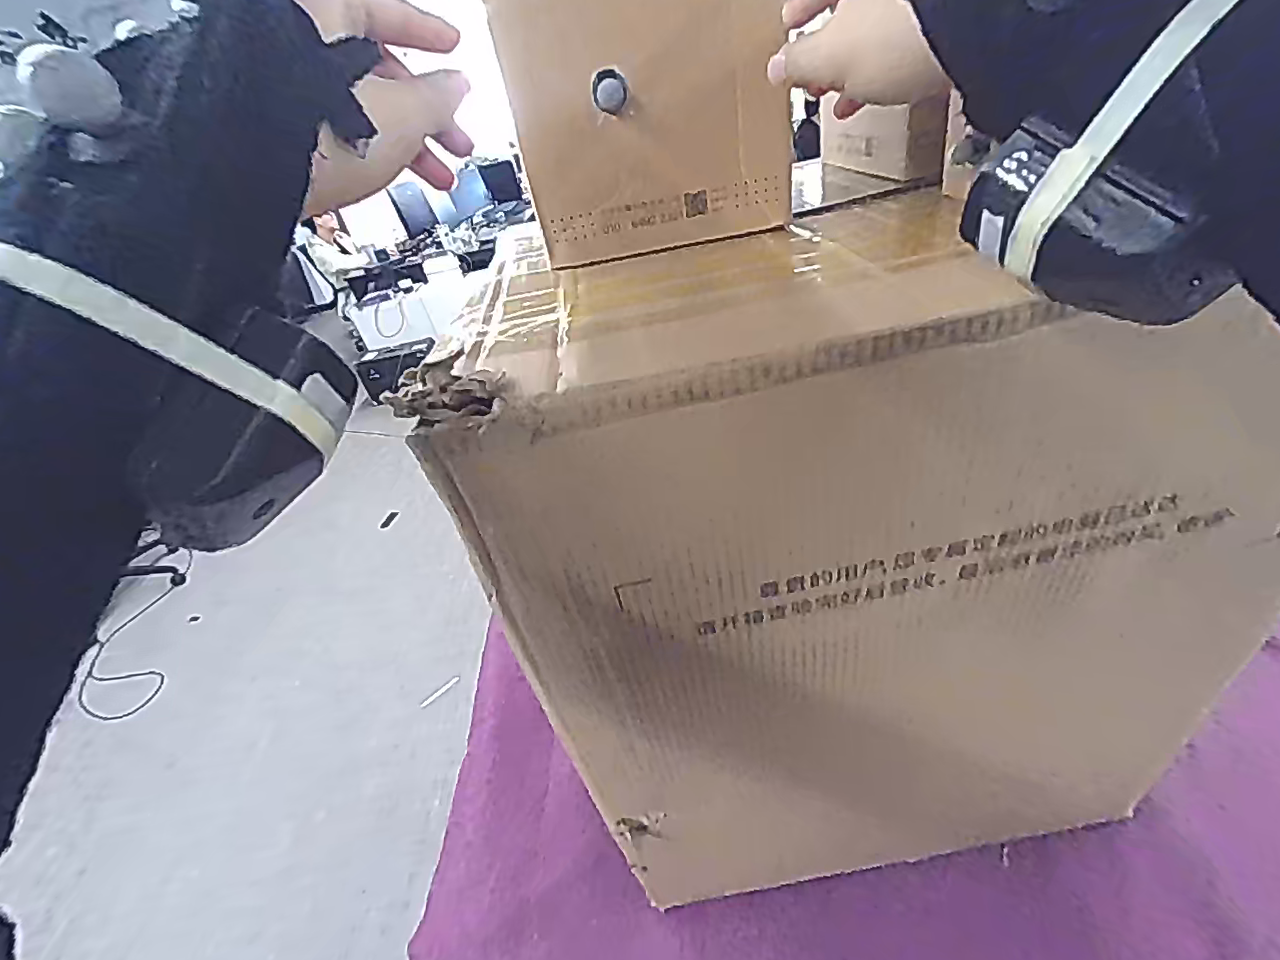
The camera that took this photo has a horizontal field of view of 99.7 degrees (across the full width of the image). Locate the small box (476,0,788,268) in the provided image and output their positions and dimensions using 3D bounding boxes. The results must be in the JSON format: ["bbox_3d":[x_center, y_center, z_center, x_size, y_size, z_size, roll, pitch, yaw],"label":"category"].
[{"bbox_3d":[0.004,-0.263,0.385,0.168,0.176,0.179,-10,35,5],"label":"small box"}]

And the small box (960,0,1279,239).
[{"bbox_3d":[0.272,-0.223,0.240,0.179,0.176,0.168,-14,36,1],"label":"small box"}]
